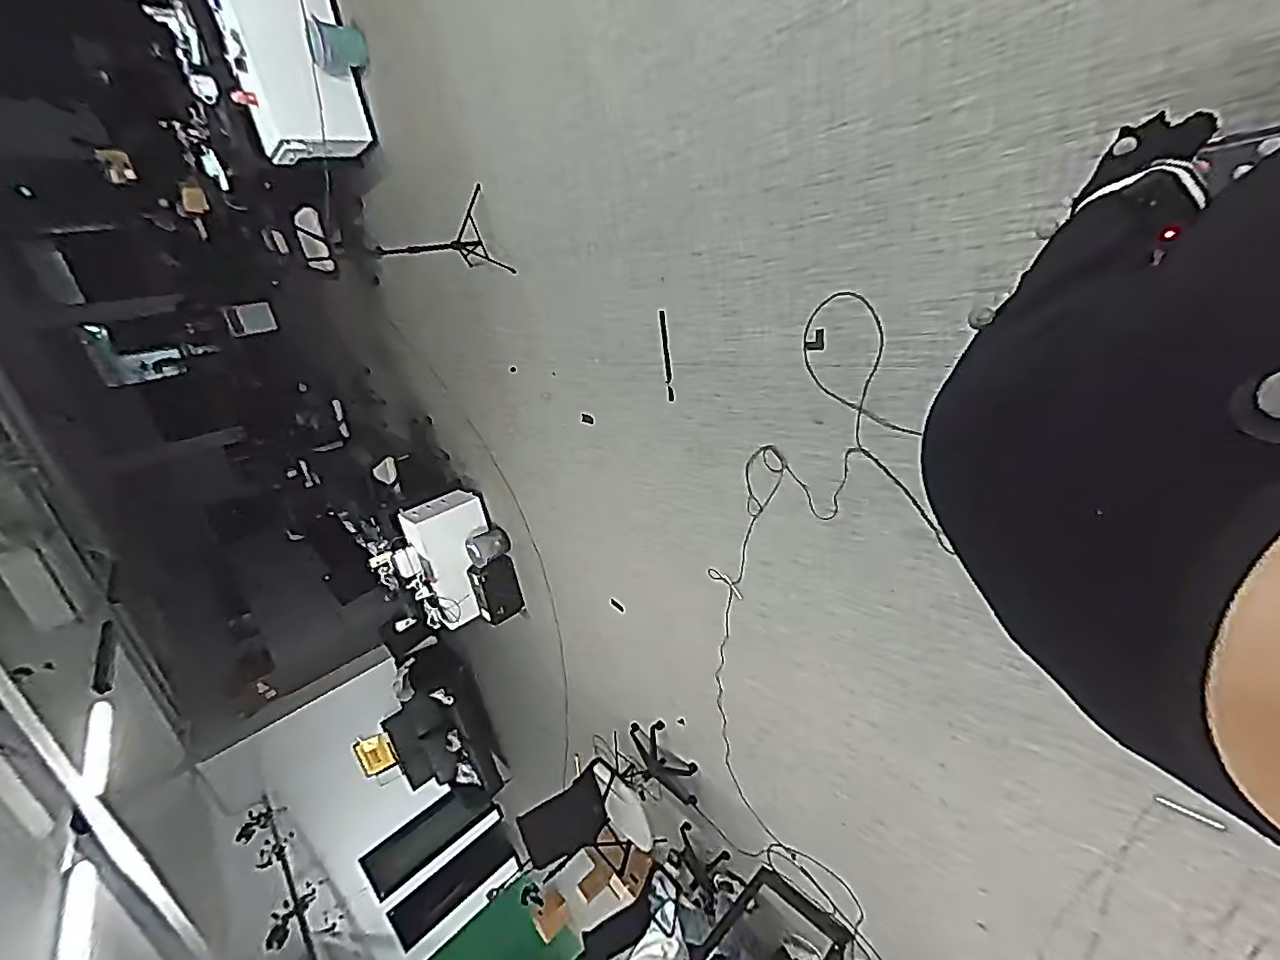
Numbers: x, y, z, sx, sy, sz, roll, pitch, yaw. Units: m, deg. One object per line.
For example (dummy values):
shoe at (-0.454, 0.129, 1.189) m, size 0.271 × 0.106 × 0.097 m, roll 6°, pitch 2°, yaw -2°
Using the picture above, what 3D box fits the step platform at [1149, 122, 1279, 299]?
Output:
step platform at (1.270, -0.468, 0.852) m, size 0.684 × 0.204 × 0.286 m, roll 12°, pitch 120°, yaw 46°
